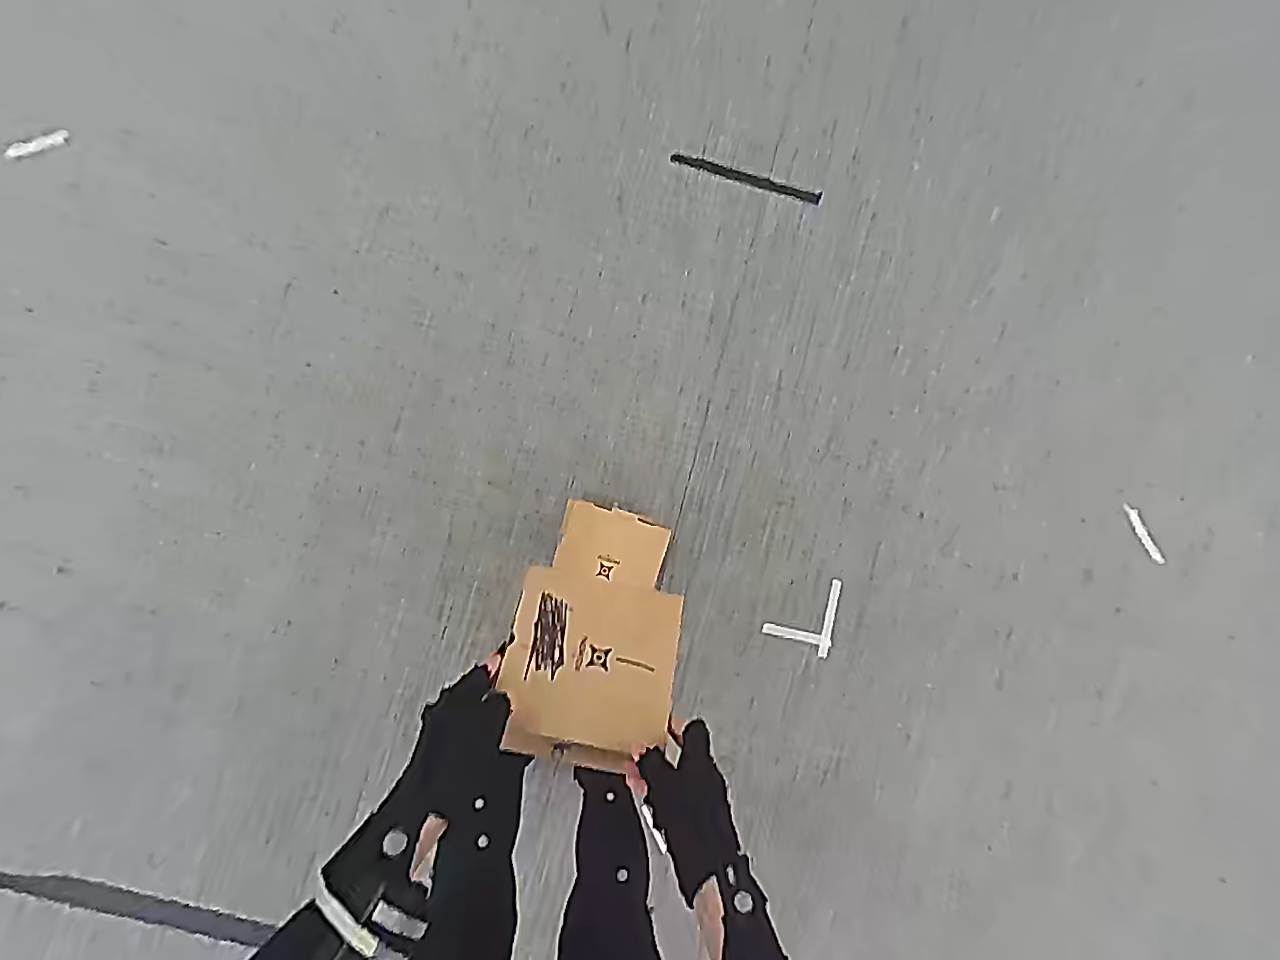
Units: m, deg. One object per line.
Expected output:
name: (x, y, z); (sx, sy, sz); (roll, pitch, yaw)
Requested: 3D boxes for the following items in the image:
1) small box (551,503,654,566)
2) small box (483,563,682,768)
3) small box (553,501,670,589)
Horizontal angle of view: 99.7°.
small box: (-0.080, 0.147, 1.102); (0.179, 0.176, 0.168); (13, 84, -3)
small box: (-0.062, 0.219, 0.620); (0.179, 0.176, 0.168); (13, 56, -1)
small box: (-0.062, 0.148, 0.939); (0.168, 0.176, 0.179); (19, 83, -3)
